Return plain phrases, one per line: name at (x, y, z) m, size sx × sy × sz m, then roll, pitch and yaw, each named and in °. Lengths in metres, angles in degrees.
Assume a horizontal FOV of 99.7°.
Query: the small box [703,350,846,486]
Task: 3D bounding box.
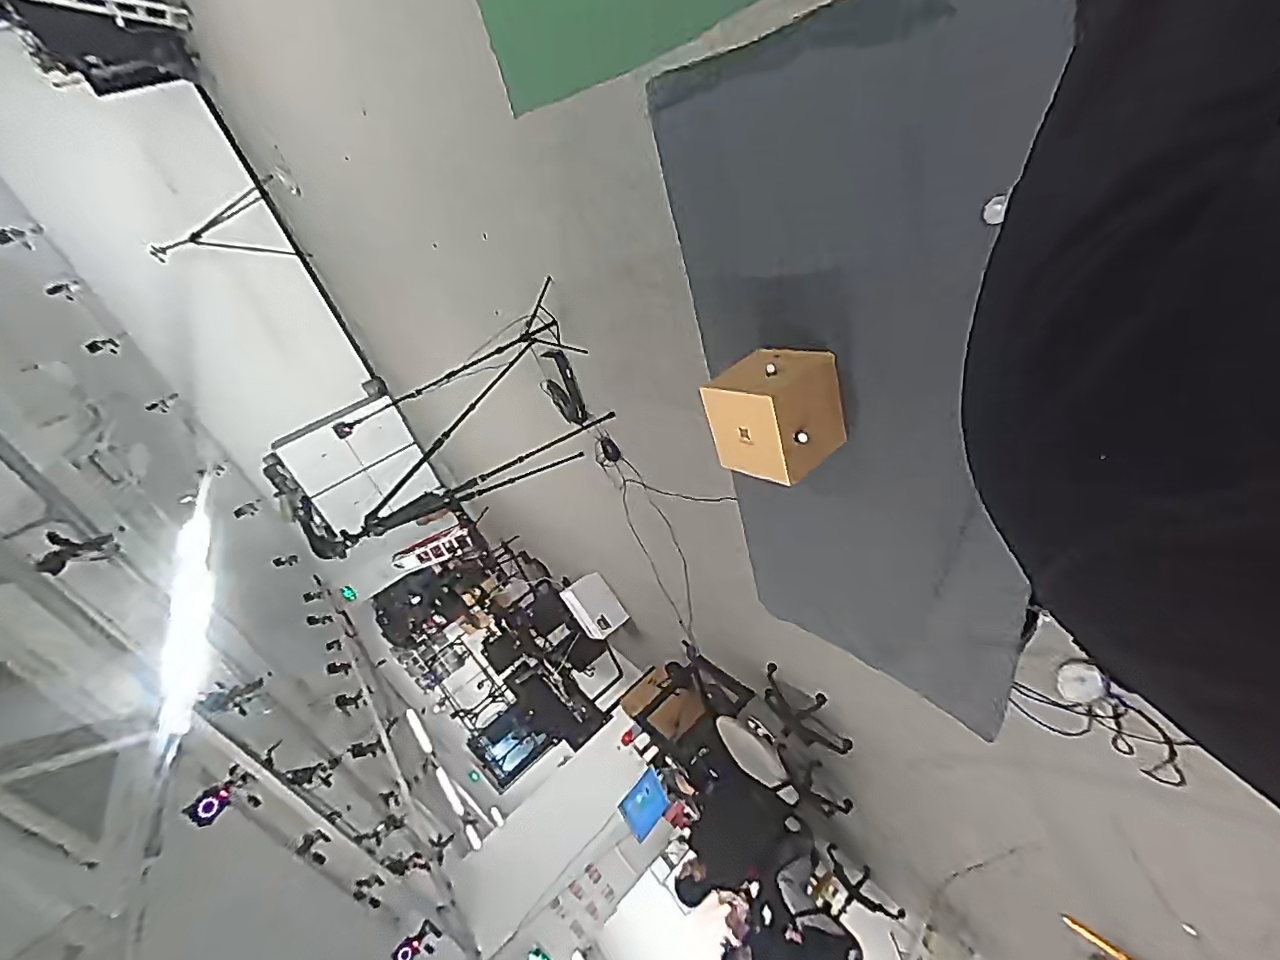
small box at (0.246, -0.121, 0.972) m, size 0.168 × 0.176 × 0.179 m, roll 20°, pitch 139°, yaw 50°
